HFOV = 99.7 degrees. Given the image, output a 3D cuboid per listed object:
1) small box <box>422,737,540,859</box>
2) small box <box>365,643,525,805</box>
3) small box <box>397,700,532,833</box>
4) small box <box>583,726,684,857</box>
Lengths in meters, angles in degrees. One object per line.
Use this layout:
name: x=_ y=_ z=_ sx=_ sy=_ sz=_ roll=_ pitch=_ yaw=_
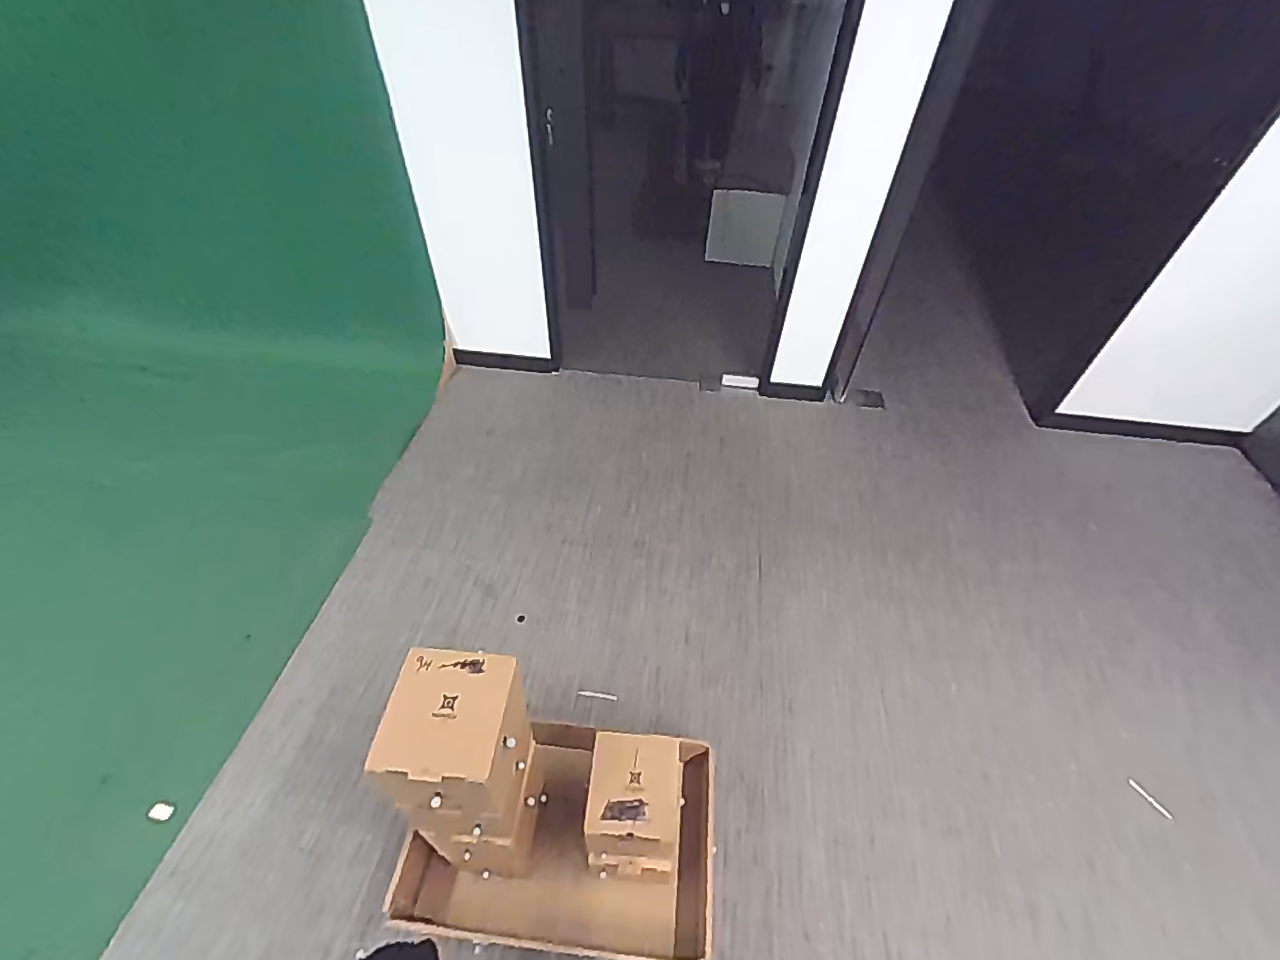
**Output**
small box: x=-0.294 y=0.605 z=1.045 sx=0.168 sy=0.176 sz=0.179 roll=7 pitch=47 yaw=2
small box: x=-0.276 y=0.372 z=0.815 sx=0.168 sy=0.176 sz=0.179 roll=7 pitch=47 yaw=0
small box: x=-0.286 y=0.487 z=0.931 sx=0.168 sy=0.176 sz=0.179 roll=6 pitch=46 yaw=0
small box: x=-0.009 y=0.608 z=1.049 sx=0.168 sy=0.176 sz=0.179 roll=8 pitch=47 yaw=3
